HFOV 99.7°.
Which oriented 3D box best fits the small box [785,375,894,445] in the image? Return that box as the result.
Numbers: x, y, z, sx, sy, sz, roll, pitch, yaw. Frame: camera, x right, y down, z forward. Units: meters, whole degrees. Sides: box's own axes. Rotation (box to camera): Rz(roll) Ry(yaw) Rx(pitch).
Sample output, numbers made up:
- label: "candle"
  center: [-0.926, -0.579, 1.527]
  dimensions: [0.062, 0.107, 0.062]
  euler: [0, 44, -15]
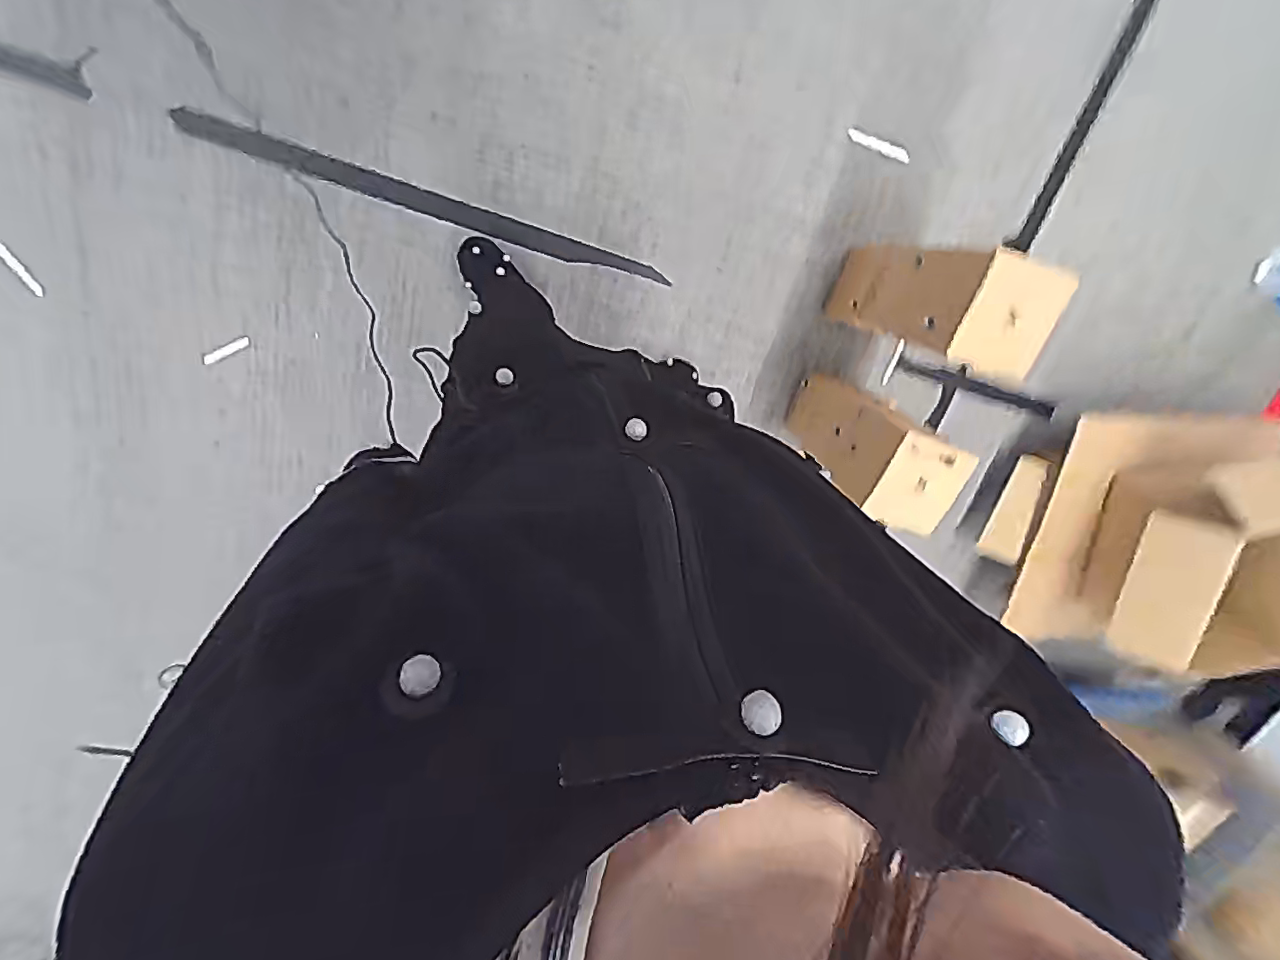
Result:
- label: "small box"
  center: [0.498, -0.158, 1.382]
  dimensions: [0.179, 0.176, 0.168]
  euler: [13, 113, -13]

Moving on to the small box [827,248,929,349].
- label: "small box"
  center: [0.569, -0.430, 1.264]
  dimensions: [0.168, 0.176, 0.179]
  euler: [14, 113, -13]

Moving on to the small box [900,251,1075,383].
- label: "small box"
  center: [0.602, -0.295, 0.967]
  dimensions: [0.168, 0.176, 0.179]
  euler: [12, 113, -14]

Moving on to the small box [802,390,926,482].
- label: "small box"
  center: [0.497, -0.088, 1.232]
  dimensions: [0.168, 0.176, 0.179]
  euler: [16, 113, -12]

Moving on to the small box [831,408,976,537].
- label: "small box"
  center: [0.510, -0.019, 1.083]
  dimensions: [0.168, 0.176, 0.179]
  euler: [19, 113, -14]
